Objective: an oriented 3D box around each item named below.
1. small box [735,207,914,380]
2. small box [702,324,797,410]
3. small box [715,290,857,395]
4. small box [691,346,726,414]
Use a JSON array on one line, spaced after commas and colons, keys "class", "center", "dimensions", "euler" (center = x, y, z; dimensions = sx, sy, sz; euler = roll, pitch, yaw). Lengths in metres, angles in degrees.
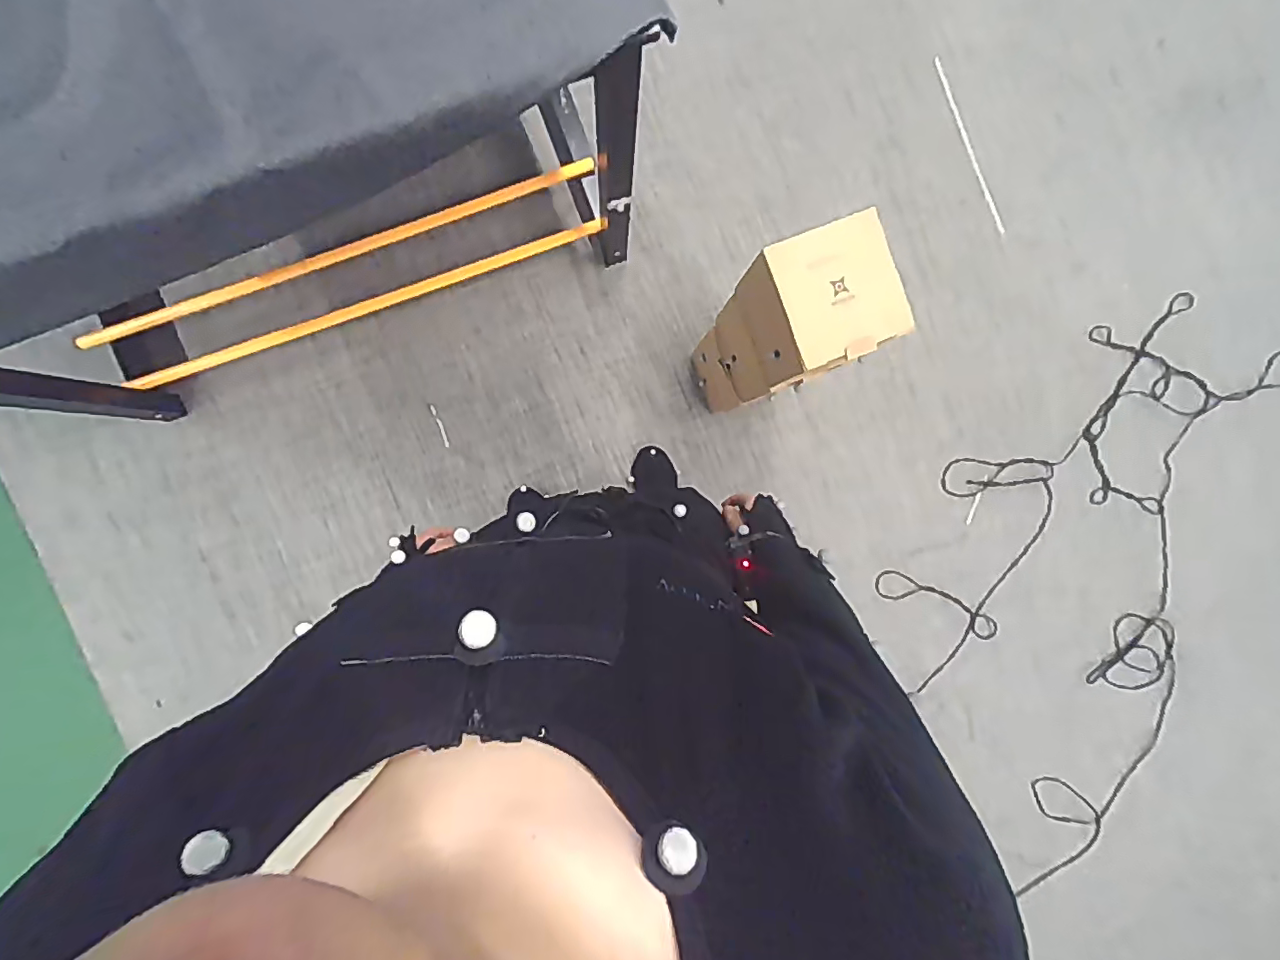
[{"class": "small box", "center": [0.260, -0.259, 0.801], "dimensions": [0.168, 0.176, 0.179], "euler": [-22, 92, -3]}, {"class": "small box", "center": [0.239, -0.256, 1.127], "dimensions": [0.179, 0.176, 0.168], "euler": [-23, 93, -3]}, {"class": "small box", "center": [0.250, -0.258, 0.962], "dimensions": [0.168, 0.176, 0.179], "euler": [-21, 94, -4]}, {"class": "small box", "center": [0.239, -0.268, 1.290], "dimensions": [0.179, 0.176, 0.168], "euler": [-21, 92, -4]}]
